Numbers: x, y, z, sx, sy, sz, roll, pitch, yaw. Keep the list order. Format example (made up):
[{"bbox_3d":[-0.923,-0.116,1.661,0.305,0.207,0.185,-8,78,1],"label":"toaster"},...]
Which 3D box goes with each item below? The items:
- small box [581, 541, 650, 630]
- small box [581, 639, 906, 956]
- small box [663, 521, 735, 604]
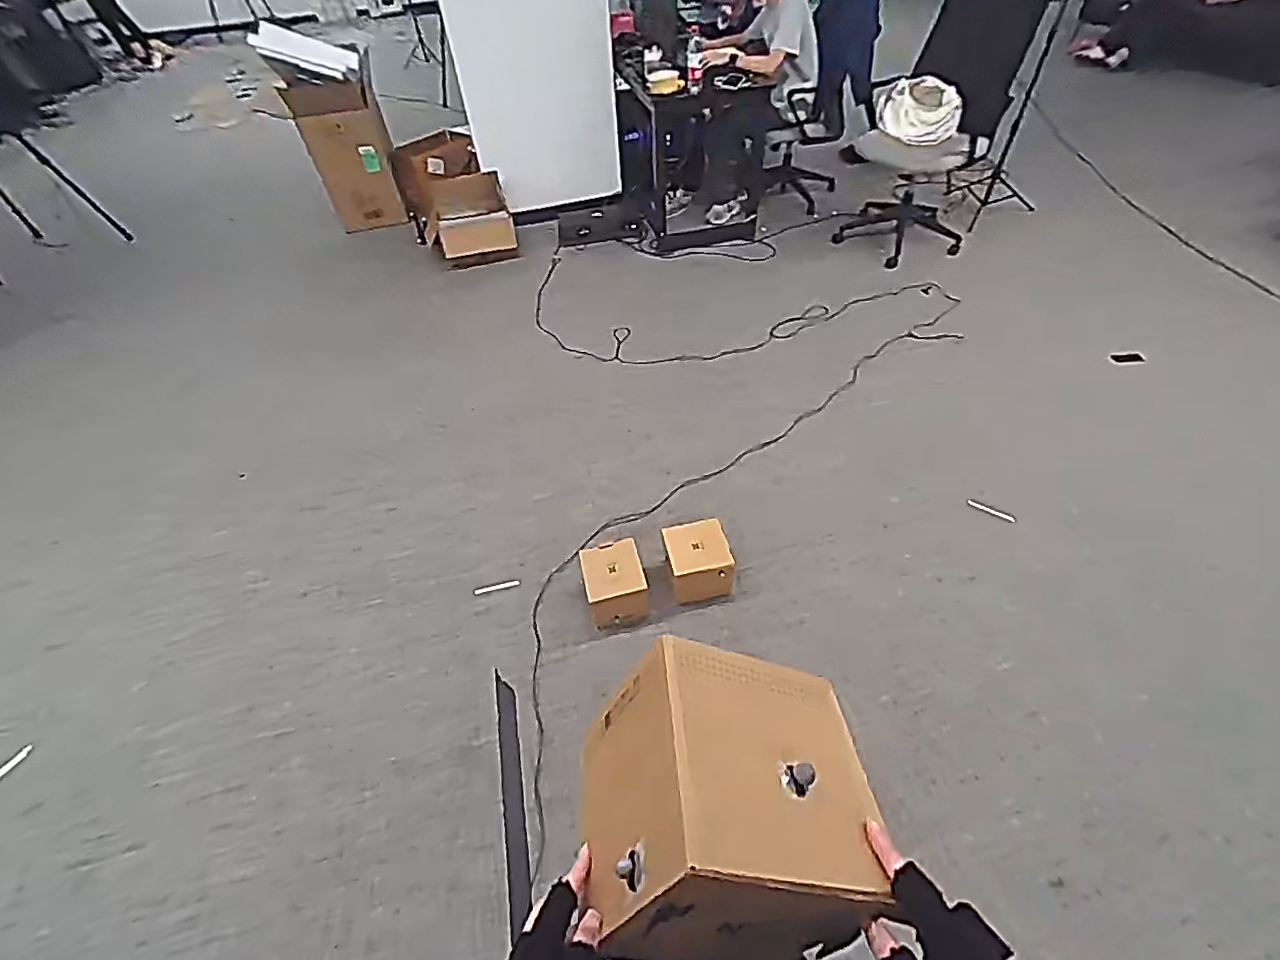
[{"bbox_3d":[-0.071,0.308,1.573,0.168,0.176,0.179,-13,50,-5],"label":"small box"},{"bbox_3d":[0.064,0.256,0.442,0.179,0.168,0.176,20,31,-19],"label":"small box"},{"bbox_3d":[0.171,0.250,1.605,0.179,0.176,0.168,-10,49,-6],"label":"small box"}]
